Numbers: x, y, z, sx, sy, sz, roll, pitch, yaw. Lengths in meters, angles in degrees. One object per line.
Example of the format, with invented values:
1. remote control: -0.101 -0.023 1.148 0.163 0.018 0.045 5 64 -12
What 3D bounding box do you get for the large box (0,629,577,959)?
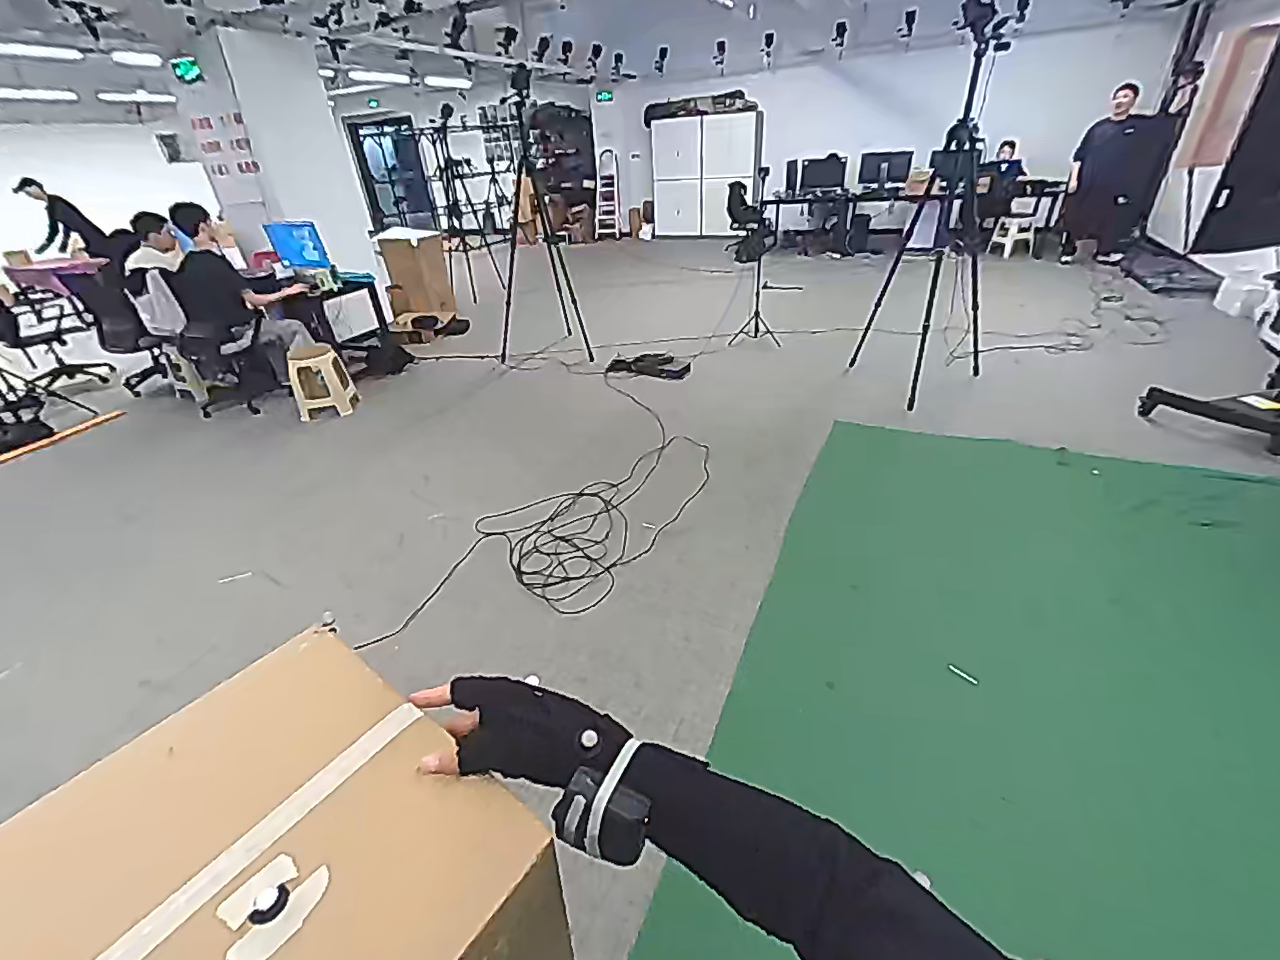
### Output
1. large box: -0.299 0.413 0.424 0.320 0.320 0.408 24 41 28
